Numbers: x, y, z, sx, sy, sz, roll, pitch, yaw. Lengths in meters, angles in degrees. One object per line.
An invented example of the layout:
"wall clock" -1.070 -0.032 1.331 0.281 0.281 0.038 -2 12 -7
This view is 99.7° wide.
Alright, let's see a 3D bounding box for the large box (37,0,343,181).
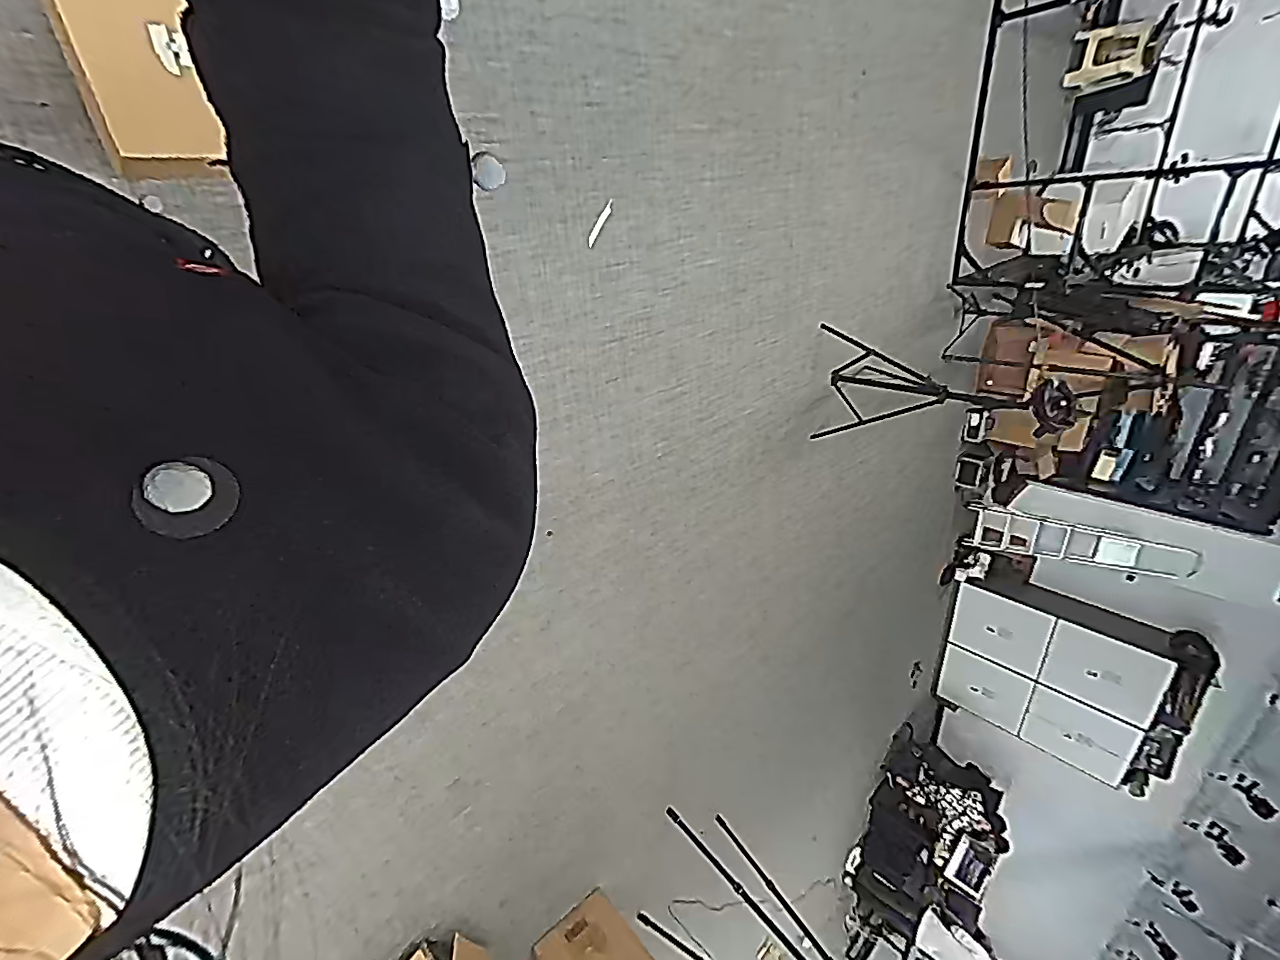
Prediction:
"large box" -0.762 -0.739 0.893 0.320 0.320 0.408 -25 123 -35
